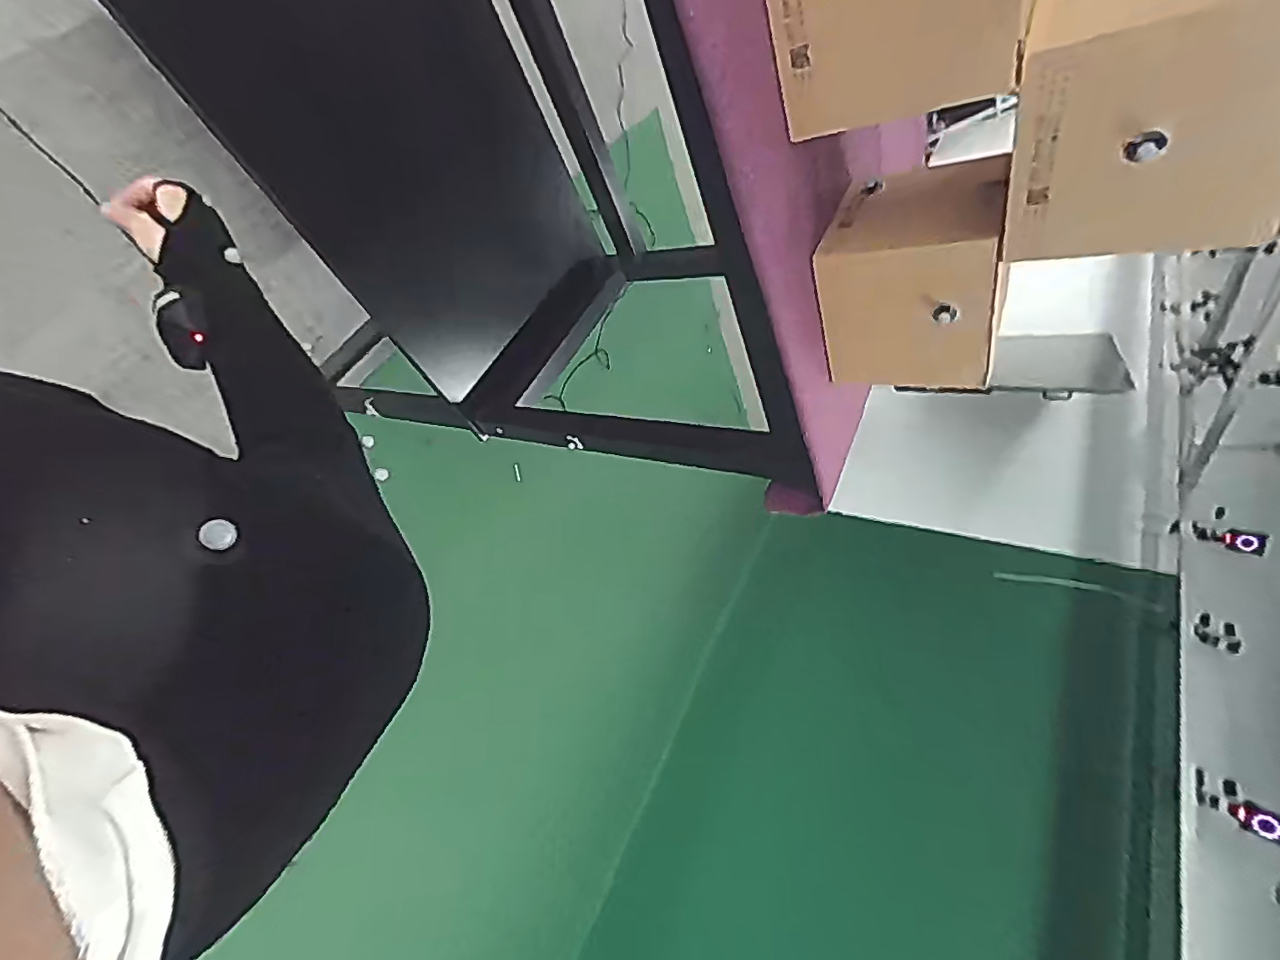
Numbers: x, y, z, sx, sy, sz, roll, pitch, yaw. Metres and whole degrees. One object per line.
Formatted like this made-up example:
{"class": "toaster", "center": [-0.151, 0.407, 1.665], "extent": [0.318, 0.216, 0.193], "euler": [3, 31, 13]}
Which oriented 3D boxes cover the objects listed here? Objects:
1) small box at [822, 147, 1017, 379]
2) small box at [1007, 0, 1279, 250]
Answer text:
{"class": "small box", "center": [0.313, -0.230, 0.607], "extent": [0.168, 0.176, 0.179], "euler": [-60, 141, -28]}
{"class": "small box", "center": [0.397, -0.302, 0.418], "extent": [0.179, 0.176, 0.168], "euler": [-62, 142, -27]}
